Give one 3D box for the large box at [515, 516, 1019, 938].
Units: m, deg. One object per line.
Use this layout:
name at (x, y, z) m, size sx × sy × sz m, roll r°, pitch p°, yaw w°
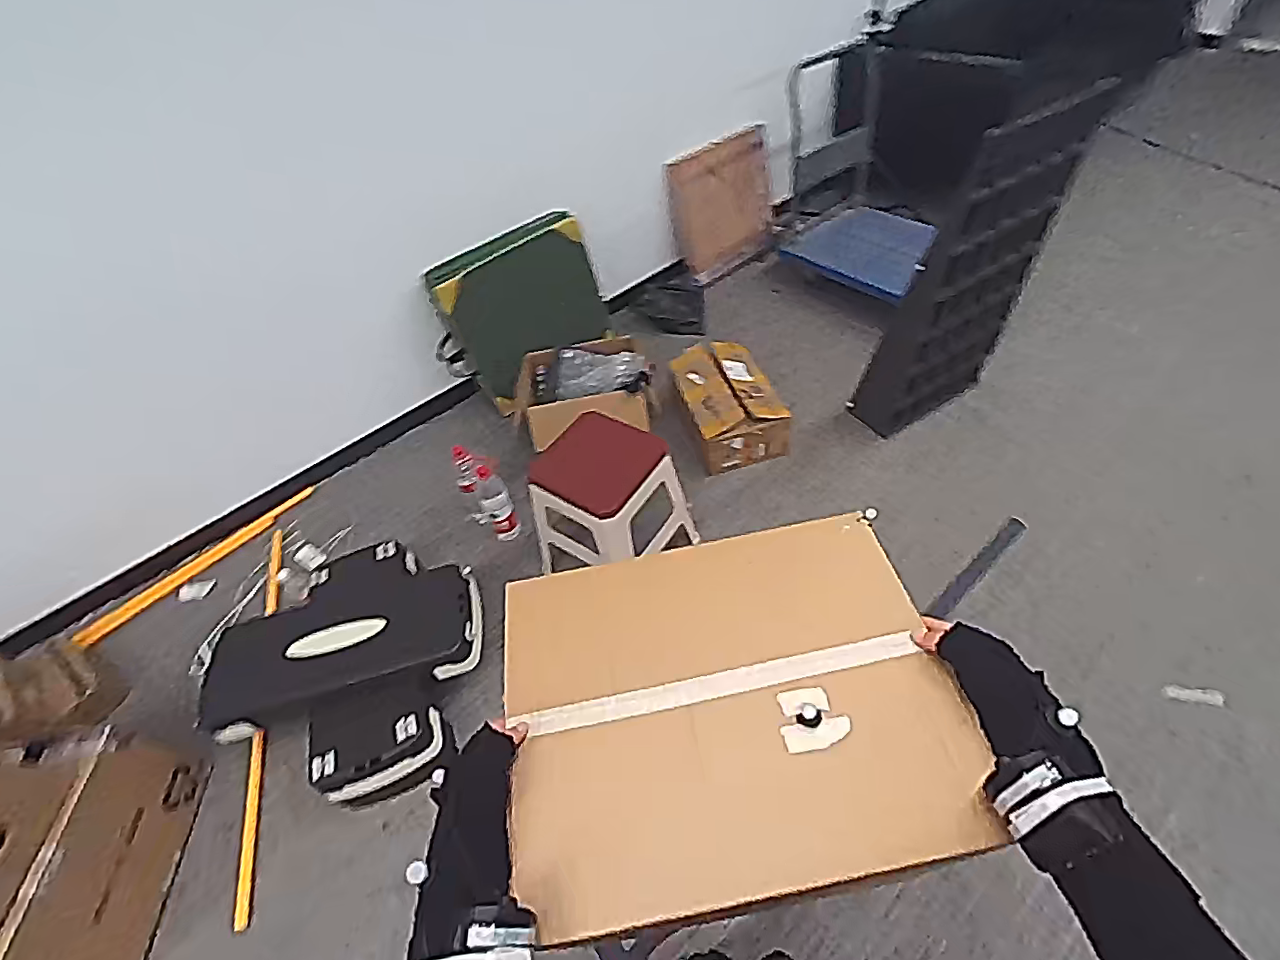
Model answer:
large box at (0.093, 0.286, 0.620) m, size 0.408 × 0.320 × 0.320 m, roll -10°, pitch 50°, yaw -1°
